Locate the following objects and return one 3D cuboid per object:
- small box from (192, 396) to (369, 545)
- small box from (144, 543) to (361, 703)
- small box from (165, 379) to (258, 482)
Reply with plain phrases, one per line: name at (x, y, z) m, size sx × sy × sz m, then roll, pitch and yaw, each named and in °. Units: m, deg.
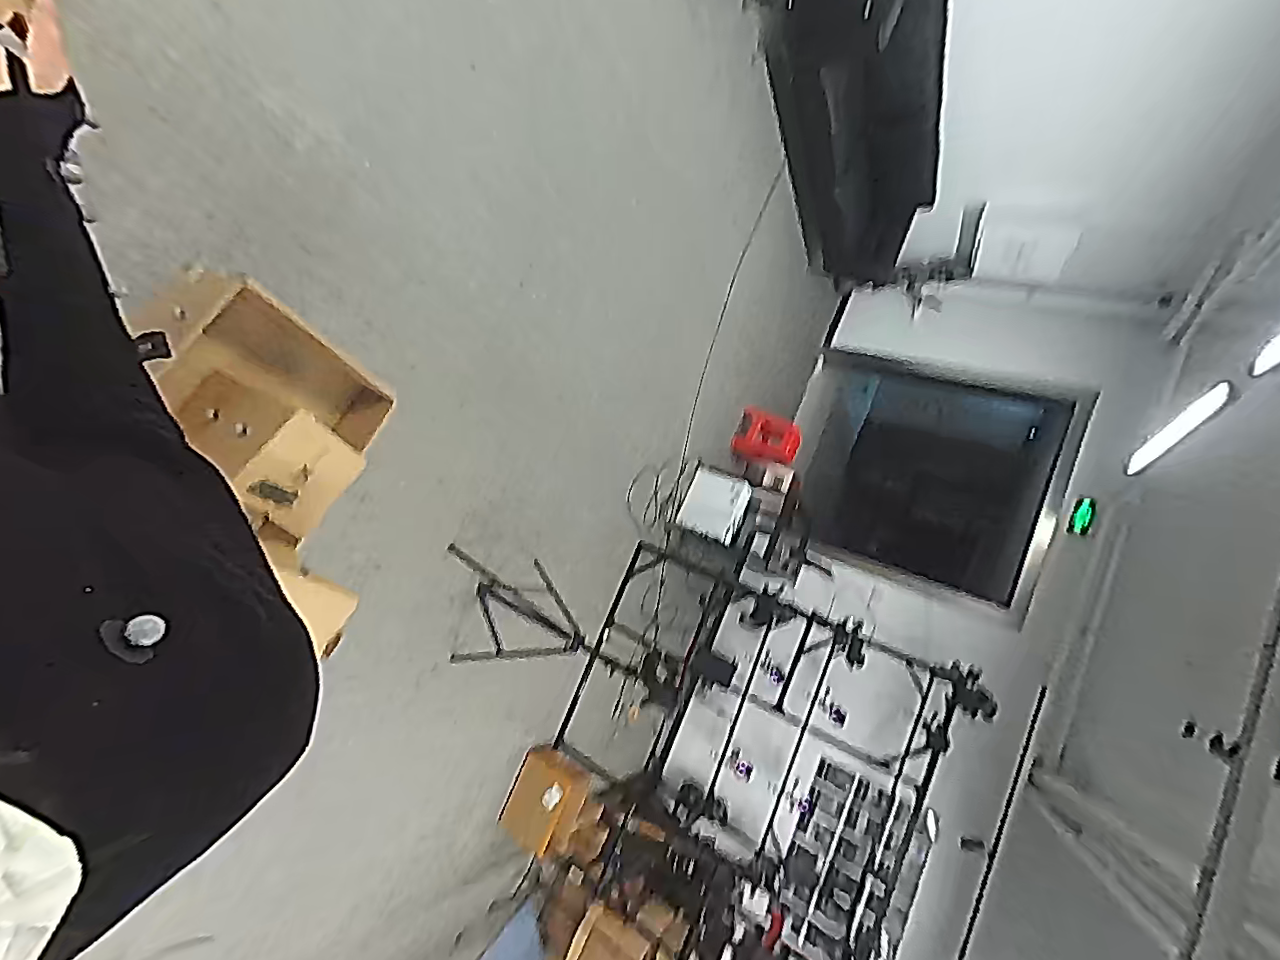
small box at (-0.634, -0.020, 0.952) m, size 0.179 × 0.176 × 0.168 m, roll -57°, pitch 149°, yaw -20°
small box at (-0.587, 0.217, 0.830) m, size 0.168 × 0.176 × 0.179 m, roll -62°, pitch 152°, yaw -18°
small box at (-0.762, -0.068, 1.044) m, size 0.179 × 0.176 × 0.168 m, roll -60°, pitch 150°, yaw -15°
